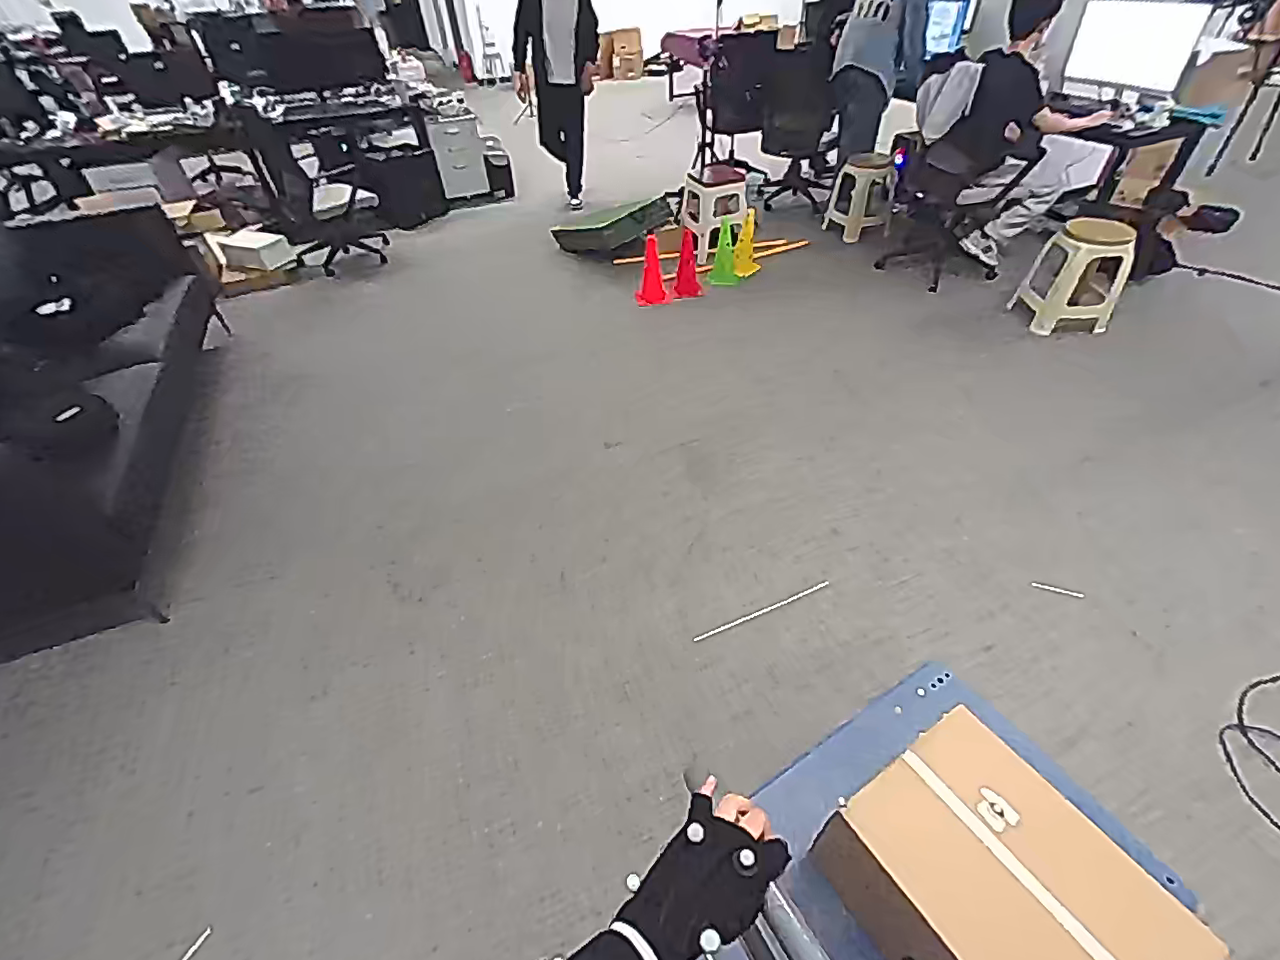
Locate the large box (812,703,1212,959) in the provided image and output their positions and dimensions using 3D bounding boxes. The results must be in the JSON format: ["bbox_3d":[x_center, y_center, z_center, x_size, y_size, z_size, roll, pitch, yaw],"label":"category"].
[{"bbox_3d":[0.561,0.682,0.910,0.320,0.320,0.408,-26,47,-20],"label":"large box"}]
